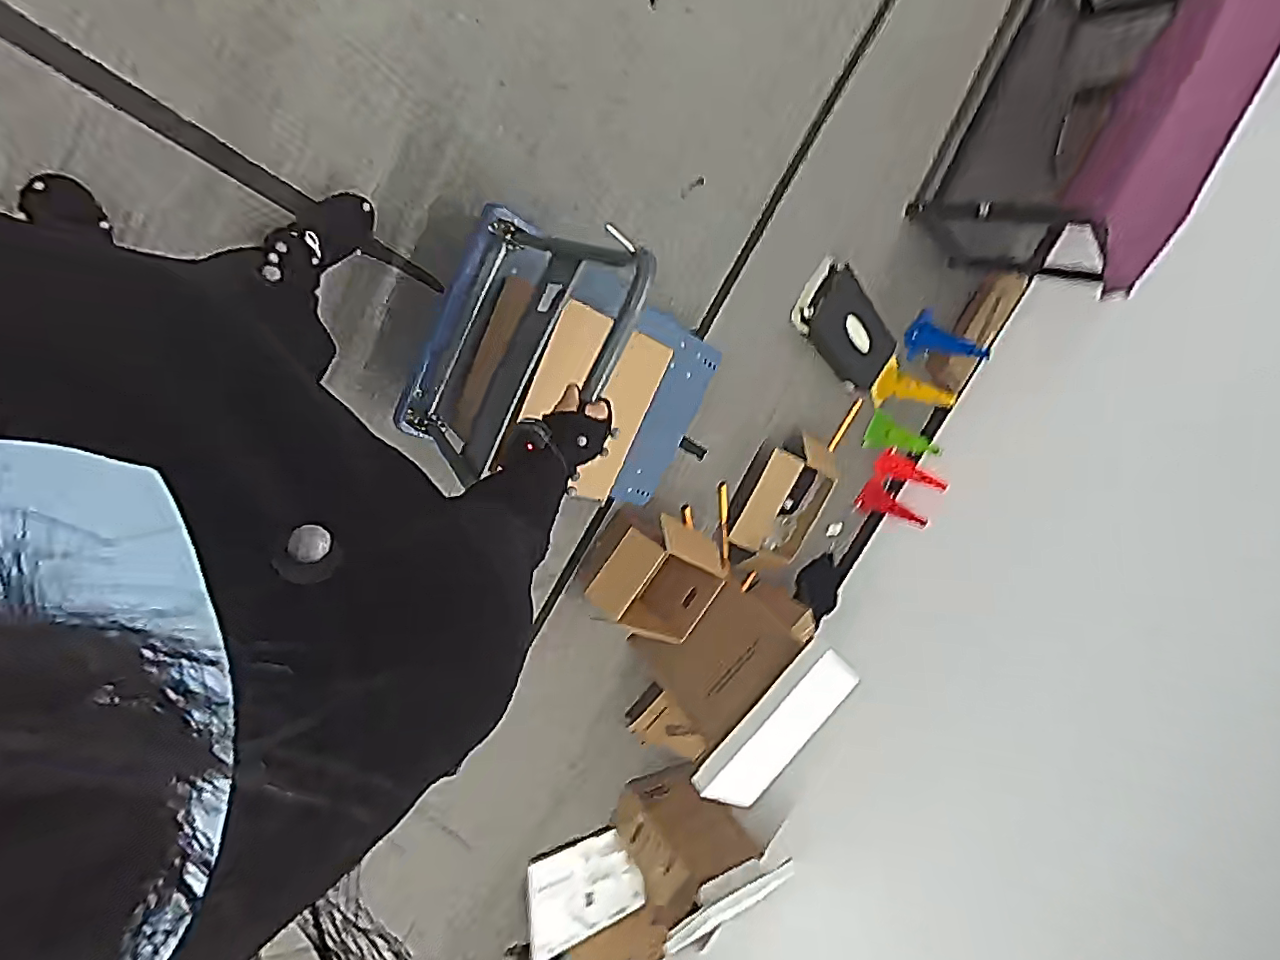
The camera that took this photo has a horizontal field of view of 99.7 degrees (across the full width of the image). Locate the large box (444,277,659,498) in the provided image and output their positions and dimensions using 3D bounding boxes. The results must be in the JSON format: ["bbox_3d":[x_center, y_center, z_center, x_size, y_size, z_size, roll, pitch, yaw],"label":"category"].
[{"bbox_3d":[-0.225,-0.220,1.315,0.320,0.320,0.408,15,106,-42],"label":"large box"}]
